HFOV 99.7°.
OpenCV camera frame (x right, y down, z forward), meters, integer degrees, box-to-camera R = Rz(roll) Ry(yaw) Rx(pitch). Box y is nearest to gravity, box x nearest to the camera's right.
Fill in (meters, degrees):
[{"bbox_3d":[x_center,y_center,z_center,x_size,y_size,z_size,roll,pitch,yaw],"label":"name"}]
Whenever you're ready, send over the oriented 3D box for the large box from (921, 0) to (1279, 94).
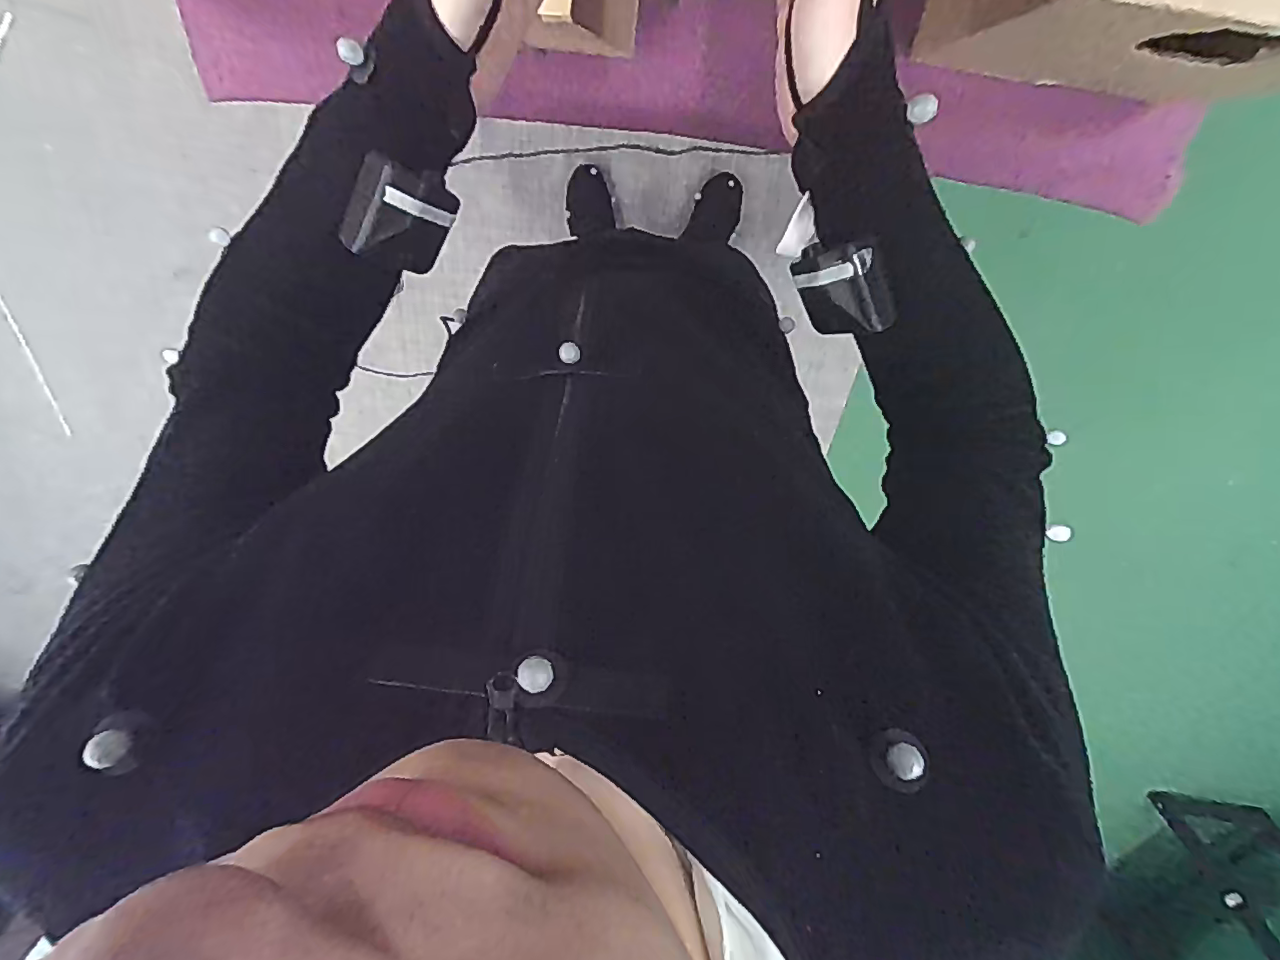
[{"bbox_3d":[0.483,-0.557,0.397,0.320,0.320,0.408,8,122,-1],"label":"large box"}]
